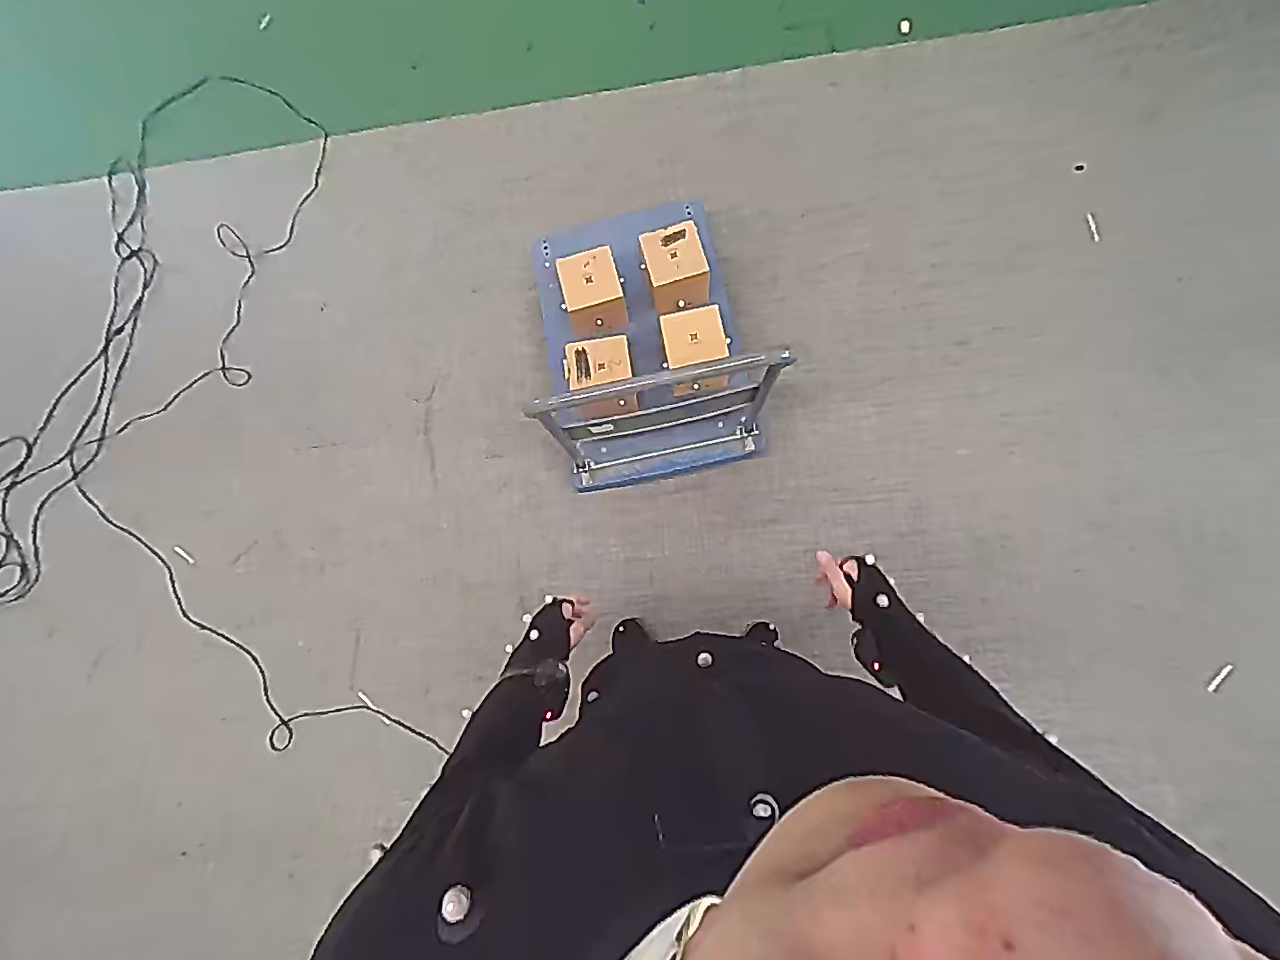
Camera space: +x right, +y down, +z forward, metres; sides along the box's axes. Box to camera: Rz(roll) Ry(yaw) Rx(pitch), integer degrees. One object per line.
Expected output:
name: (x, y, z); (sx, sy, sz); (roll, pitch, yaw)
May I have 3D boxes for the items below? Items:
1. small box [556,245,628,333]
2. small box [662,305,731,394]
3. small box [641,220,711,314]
small box: (-0.137, -0.557, 1.611); (0.168, 0.176, 0.179); (-15, 77, 1)
small box: (0.157, -0.367, 1.542); (0.168, 0.176, 0.179); (-11, 77, 3)
small box: (0.105, -0.625, 1.602); (0.168, 0.176, 0.179); (-15, 78, 3)
